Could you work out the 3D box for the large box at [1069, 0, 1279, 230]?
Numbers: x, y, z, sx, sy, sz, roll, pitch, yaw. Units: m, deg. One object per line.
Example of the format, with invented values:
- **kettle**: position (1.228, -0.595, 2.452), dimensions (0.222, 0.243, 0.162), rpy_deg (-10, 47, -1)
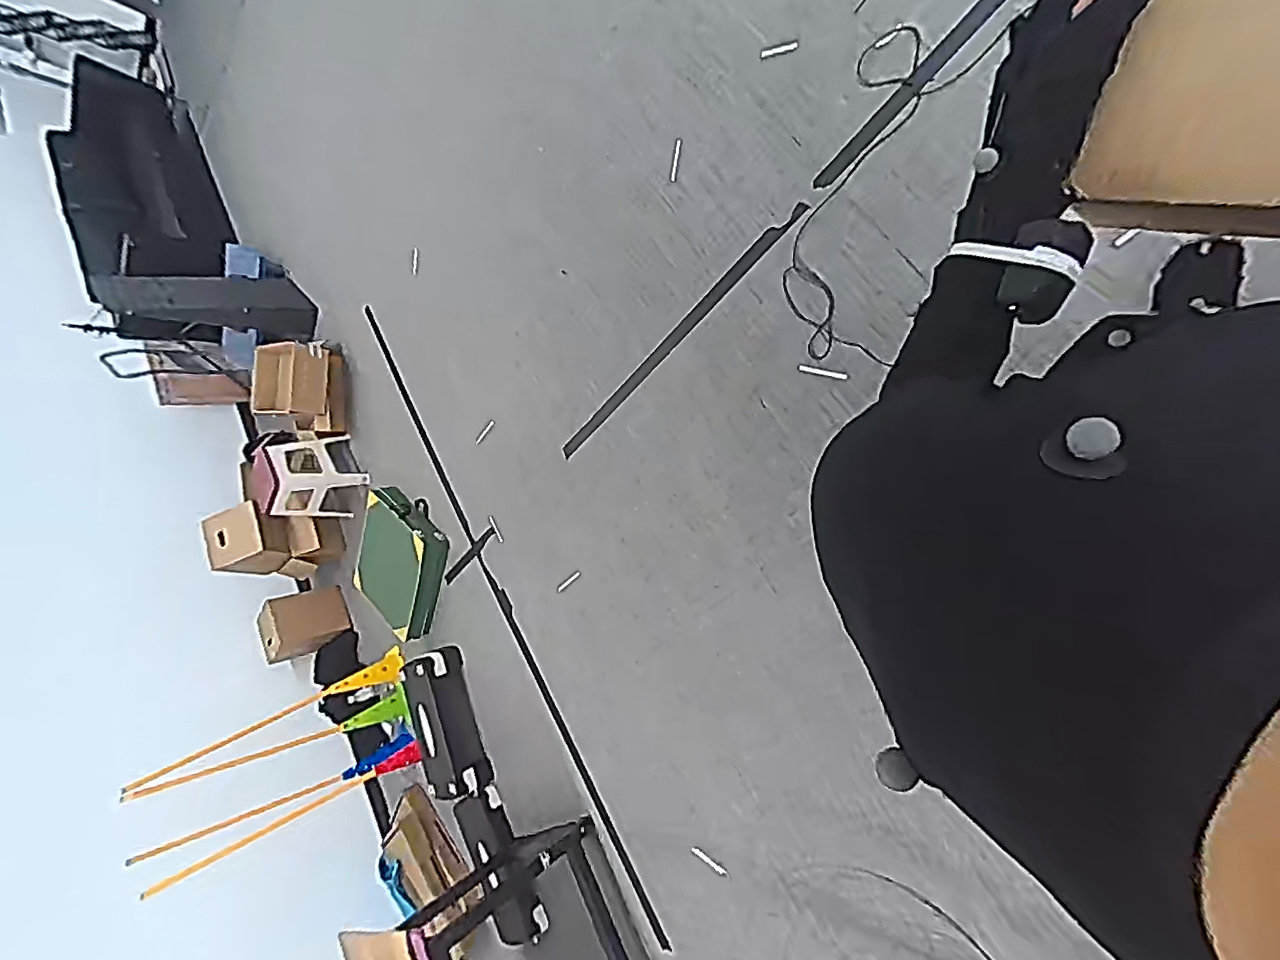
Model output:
- **large box**: position (0.587, -0.342, 0.356), dimensions (0.408, 0.320, 0.320), rpy_deg (23, 121, 34)
